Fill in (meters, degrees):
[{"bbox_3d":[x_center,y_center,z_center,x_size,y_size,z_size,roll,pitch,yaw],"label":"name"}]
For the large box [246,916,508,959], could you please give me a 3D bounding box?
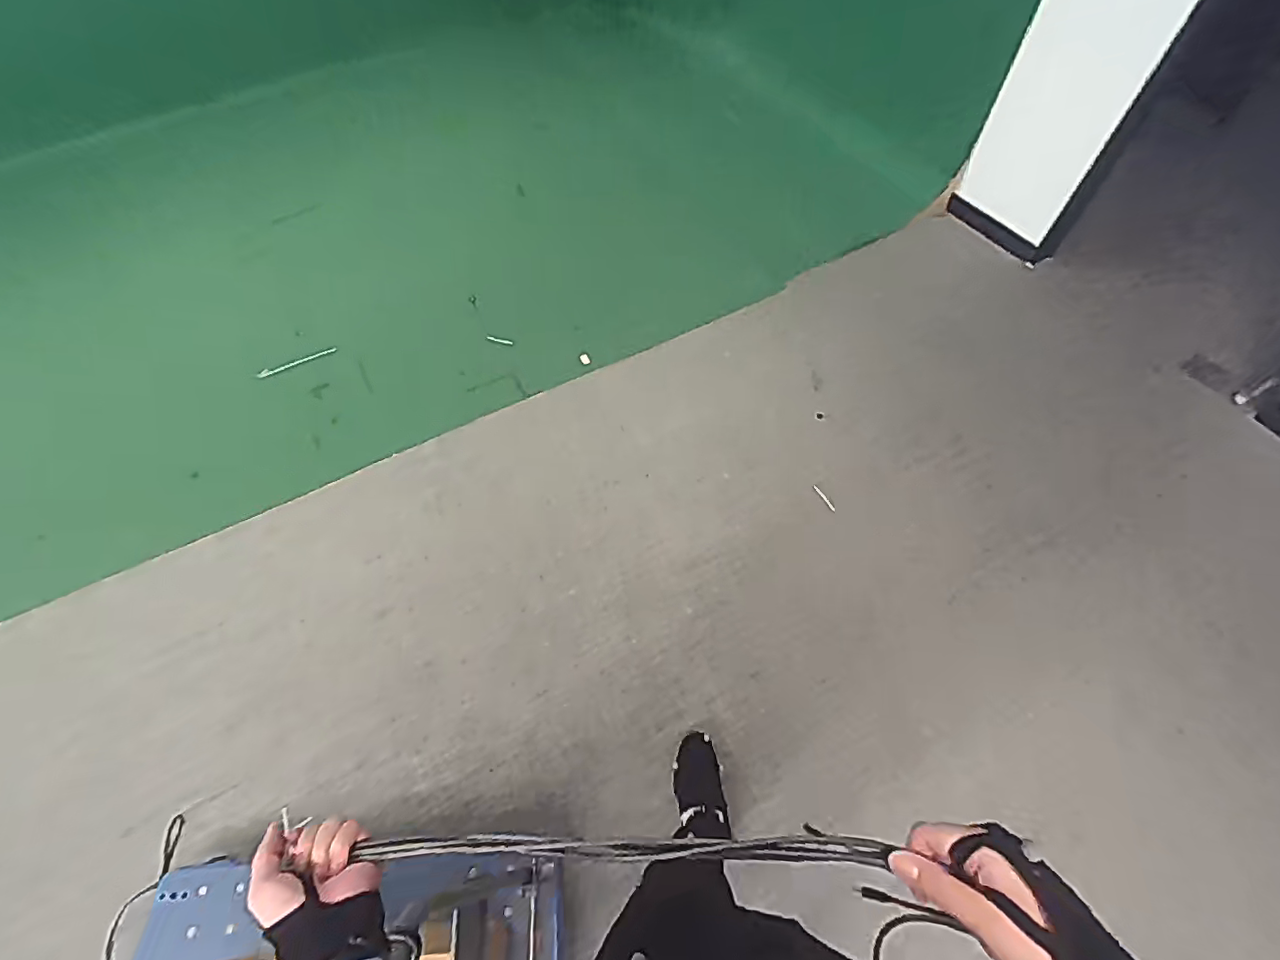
[{"bbox_3d":[-0.457,0.956,0.894,0.408,0.320,0.320,-5,58,2],"label":"large box"}]
